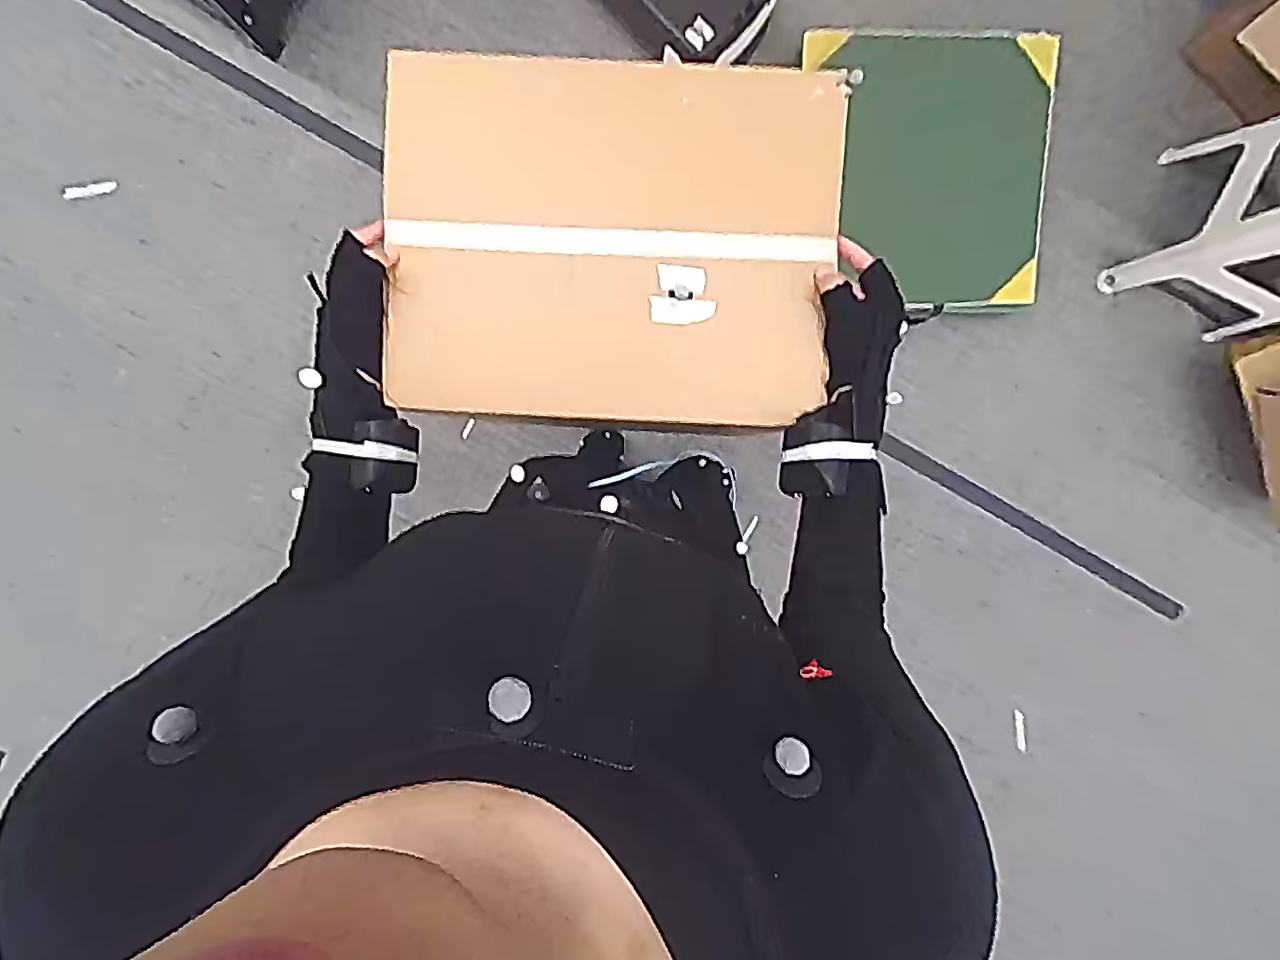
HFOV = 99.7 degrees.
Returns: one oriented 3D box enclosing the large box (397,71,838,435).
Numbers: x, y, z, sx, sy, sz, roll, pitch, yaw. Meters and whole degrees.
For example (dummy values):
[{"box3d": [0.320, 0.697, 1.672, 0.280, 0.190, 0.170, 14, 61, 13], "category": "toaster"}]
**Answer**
[{"box3d": [-0.026, -0.218, 0.646, 0.408, 0.320, 0.320, 3, 95, -1], "category": "large box"}]
